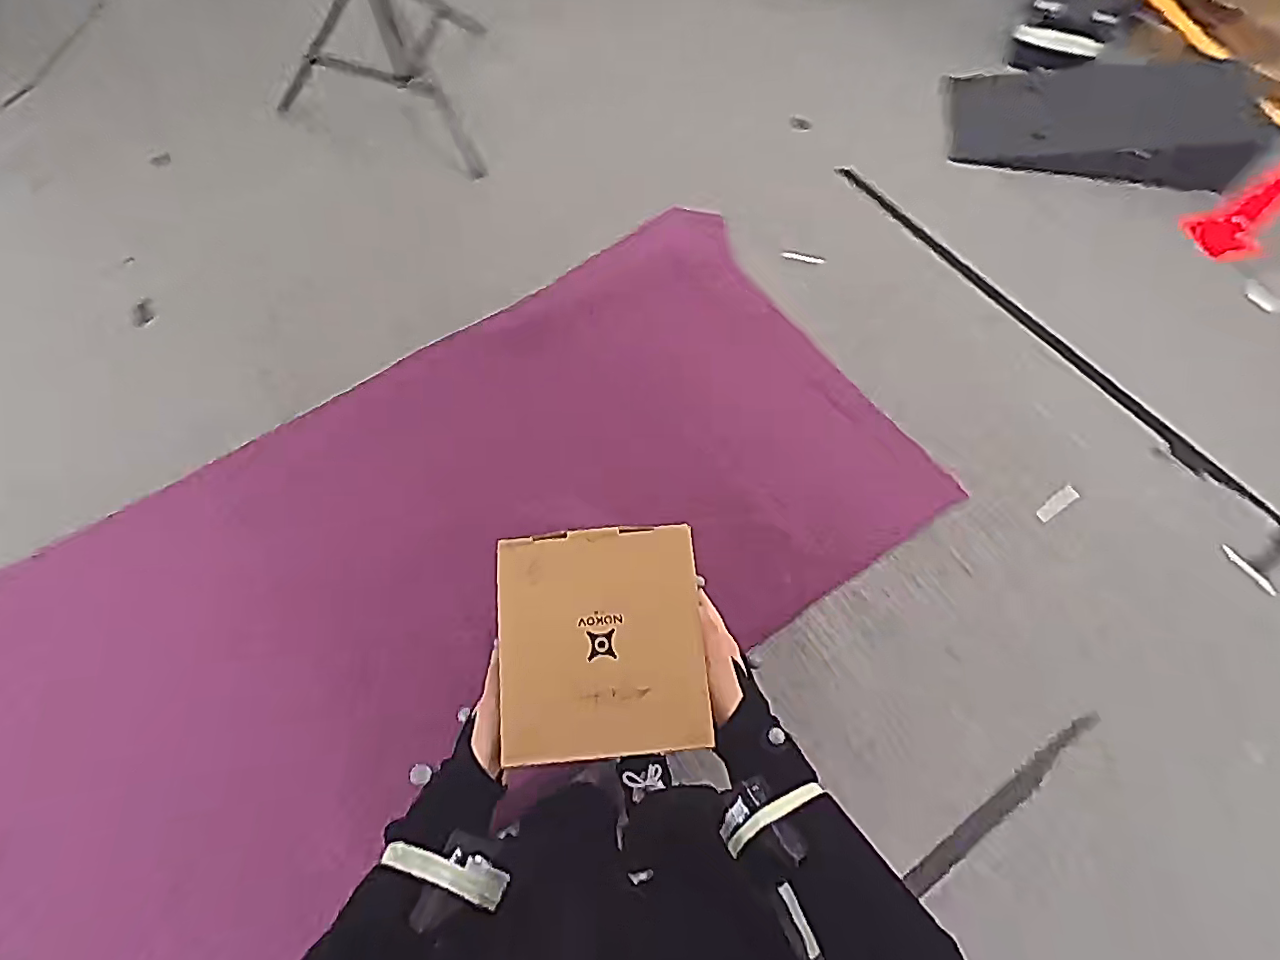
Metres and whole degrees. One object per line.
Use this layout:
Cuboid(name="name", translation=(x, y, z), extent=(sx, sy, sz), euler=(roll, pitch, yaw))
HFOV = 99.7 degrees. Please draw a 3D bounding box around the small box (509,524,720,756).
Cuboid(name="small box", translation=(-0.023, 0.145, 0.513), extent=(0.168, 0.176, 0.179), euler=(-3, 75, 0))
